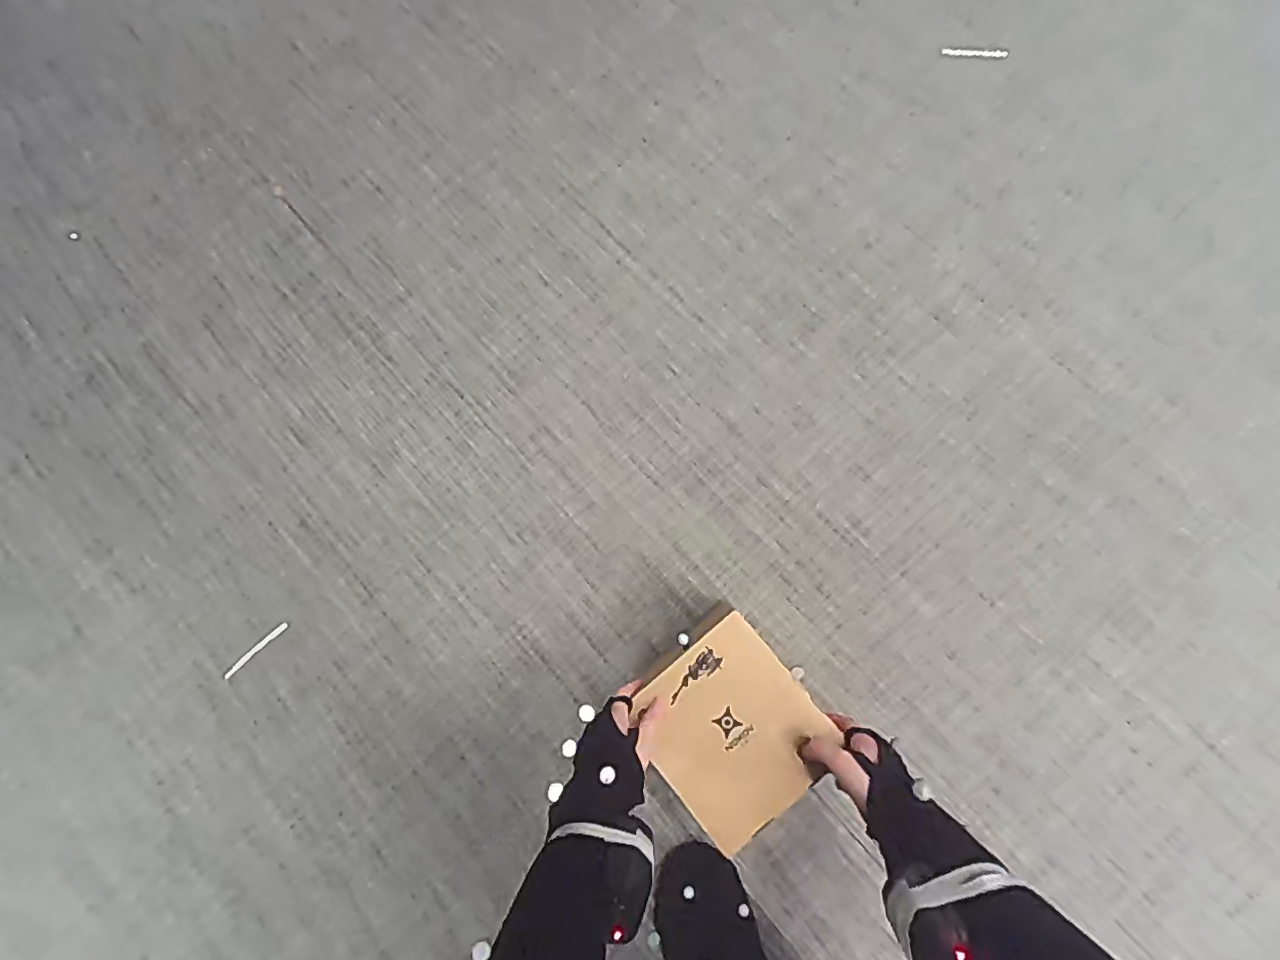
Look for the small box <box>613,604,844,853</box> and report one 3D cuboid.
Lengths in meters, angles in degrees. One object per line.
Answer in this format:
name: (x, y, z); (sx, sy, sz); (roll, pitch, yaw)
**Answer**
small box: (0.094, 0.261, 0.620); (0.168, 0.176, 0.179); (-40, 80, -2)
